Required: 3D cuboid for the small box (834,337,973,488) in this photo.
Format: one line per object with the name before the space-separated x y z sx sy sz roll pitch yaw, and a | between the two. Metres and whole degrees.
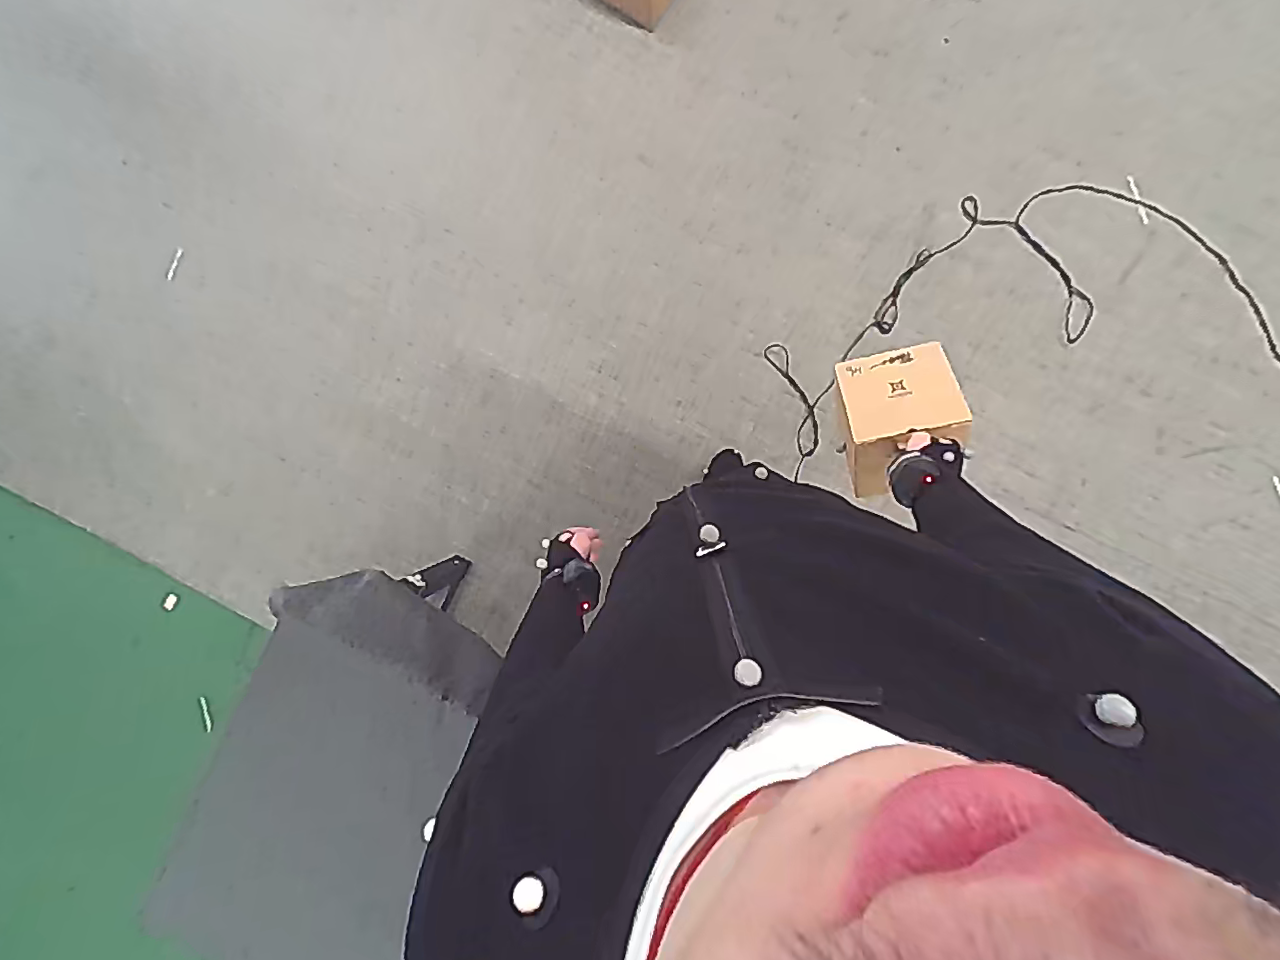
small box | 0.435 -0.102 0.909 0.168 0.176 0.179 -13 53 16
